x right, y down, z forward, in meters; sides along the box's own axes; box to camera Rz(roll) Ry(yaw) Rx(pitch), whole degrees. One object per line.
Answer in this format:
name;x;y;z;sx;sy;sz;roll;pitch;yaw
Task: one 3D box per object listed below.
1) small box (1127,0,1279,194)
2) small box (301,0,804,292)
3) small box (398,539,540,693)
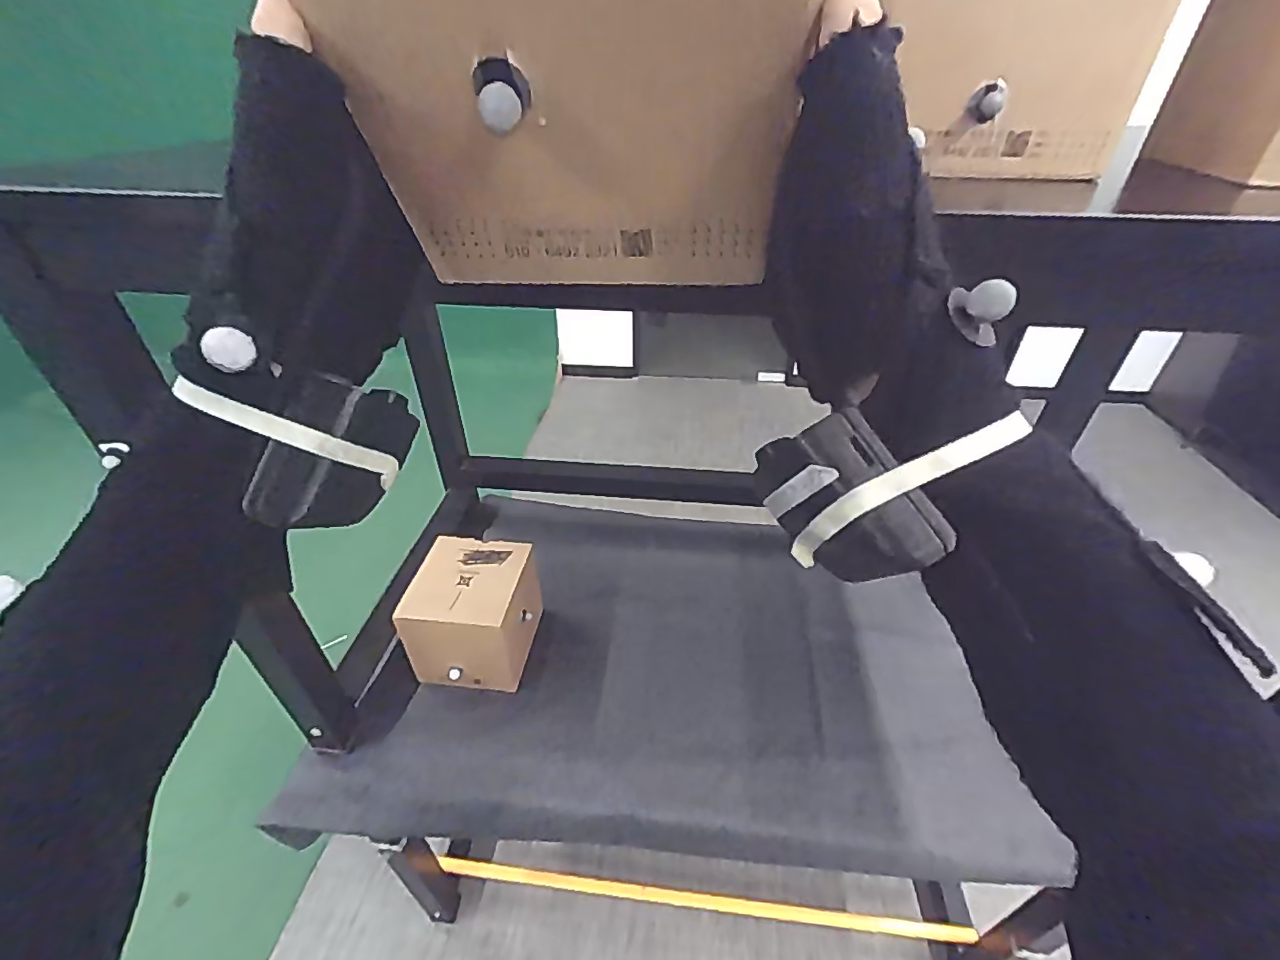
small box;0.477;-0.280;0.347;0.168;0.176;0.179;11;37;14
small box;-0.019;-0.206;0.246;0.168;0.176;0.179;2;64;4
small box;-0.268;0.222;0.897;0.168;0.176;0.179;4;37;5
